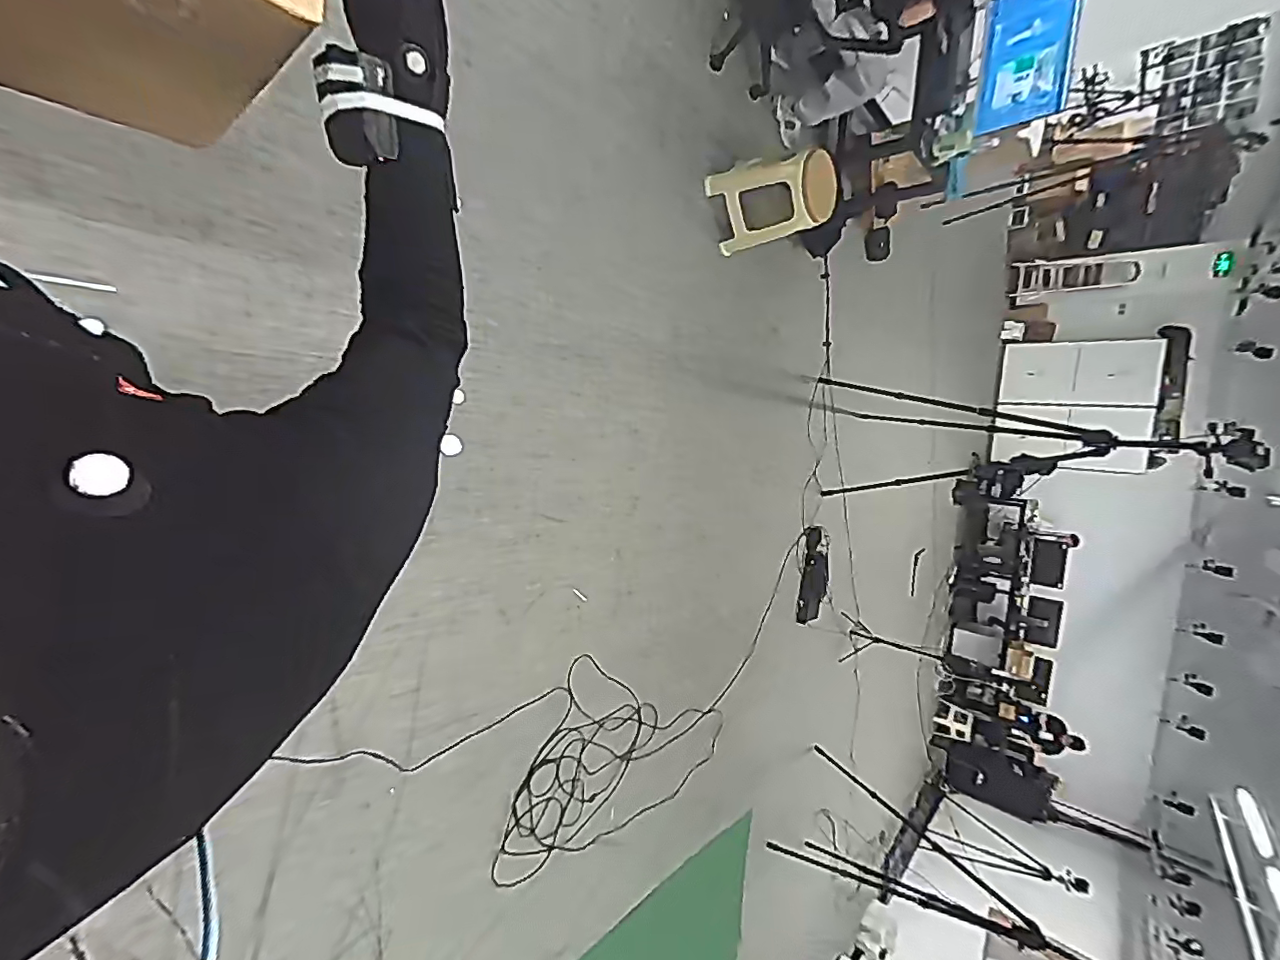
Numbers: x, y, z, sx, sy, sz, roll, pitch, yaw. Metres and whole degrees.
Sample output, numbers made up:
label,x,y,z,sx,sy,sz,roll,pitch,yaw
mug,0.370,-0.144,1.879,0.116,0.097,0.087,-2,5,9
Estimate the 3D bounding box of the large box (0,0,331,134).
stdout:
label,x,y,z,sx,sy,sz,roll,pitch,yaw
large box,-0.441,-0.462,0.284,0.408,0.320,0.320,-6,103,-49
